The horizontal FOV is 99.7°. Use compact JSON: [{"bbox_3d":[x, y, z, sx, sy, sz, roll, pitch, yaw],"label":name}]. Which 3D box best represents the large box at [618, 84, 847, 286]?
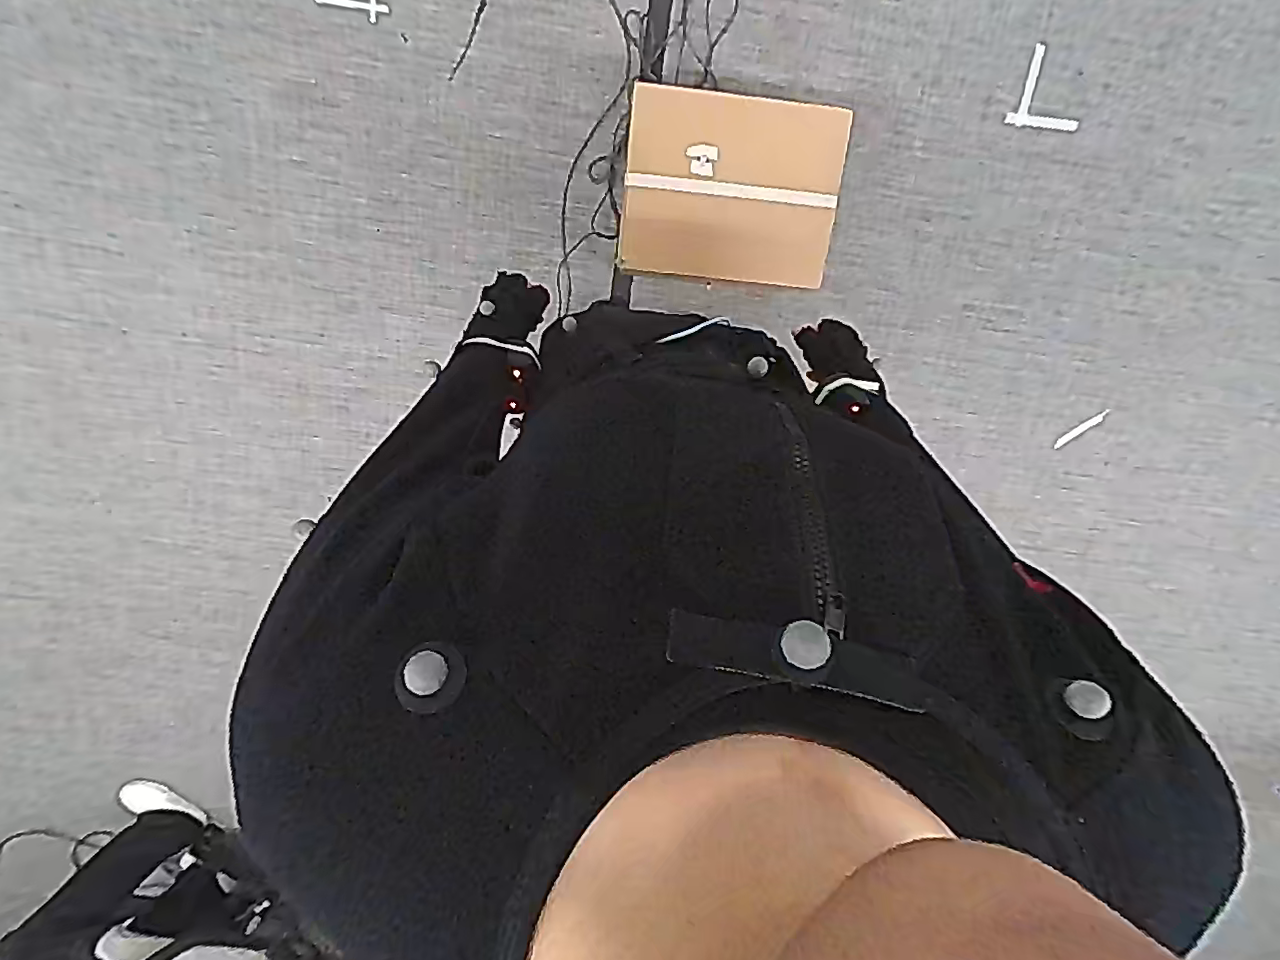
[{"bbox_3d":[0.168,-0.597,1.164,0.408,0.320,0.320,6,107,-3],"label":"large box"}]
